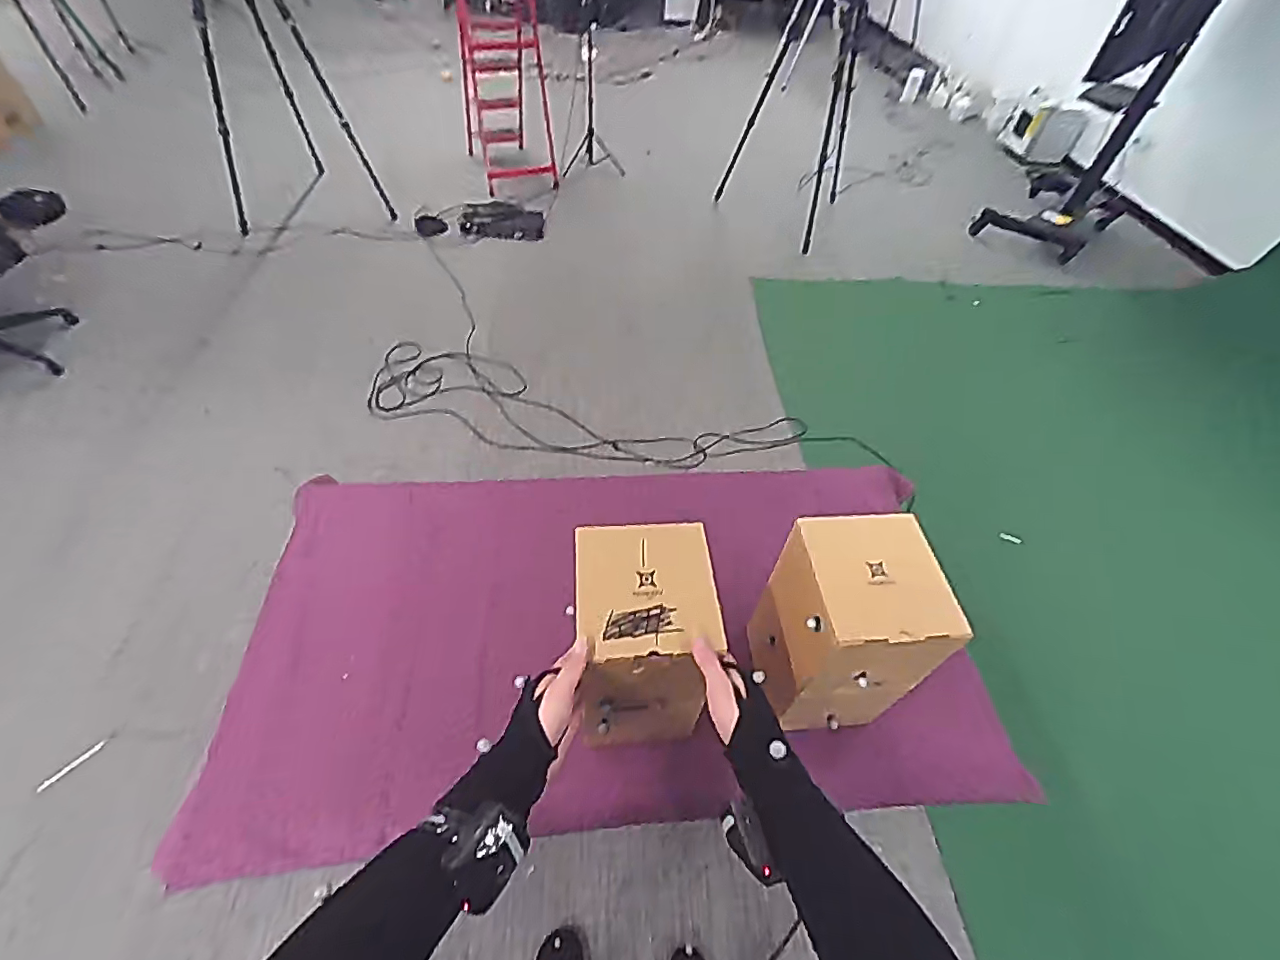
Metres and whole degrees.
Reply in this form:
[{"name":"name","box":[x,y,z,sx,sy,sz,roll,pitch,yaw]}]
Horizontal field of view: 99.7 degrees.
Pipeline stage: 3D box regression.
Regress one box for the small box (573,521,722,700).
[{"name":"small box","box":[0.001,0.173,0.698,0.168,0.176,0.179,-1,50,-6]}]

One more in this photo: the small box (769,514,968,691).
[{"name":"small box","box":[0.286,0.165,0.727,0.168,0.176,0.179,-2,51,-6]}]

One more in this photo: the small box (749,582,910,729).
[{"name":"small box","box":[0.279,0.271,0.850,0.168,0.176,0.179,-3,50,-5]}]
